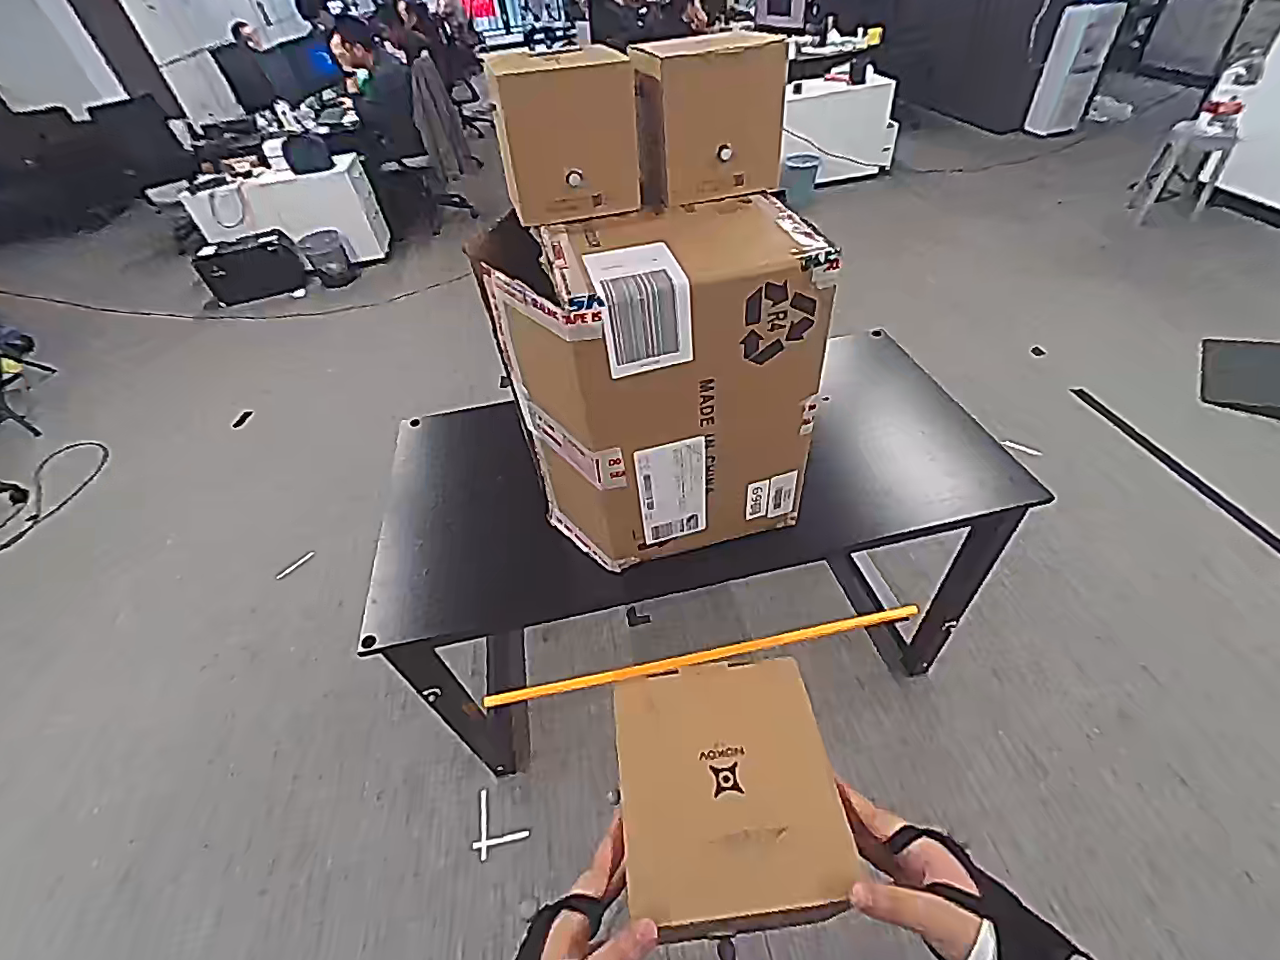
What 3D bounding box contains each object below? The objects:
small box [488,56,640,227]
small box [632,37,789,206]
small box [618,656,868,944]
[{"bbox_3d":[-0.102,-0.462,0.738,0.168,0.176,0.179,-14,44,-10],"label":"small box"},{"bbox_3d":[0.091,-0.505,0.763,0.168,0.176,0.179,-14,44,-7],"label":"small box"},{"bbox_3d":[0.070,0.282,0.479,0.168,0.176,0.179,-6,46,-2],"label":"small box"}]
